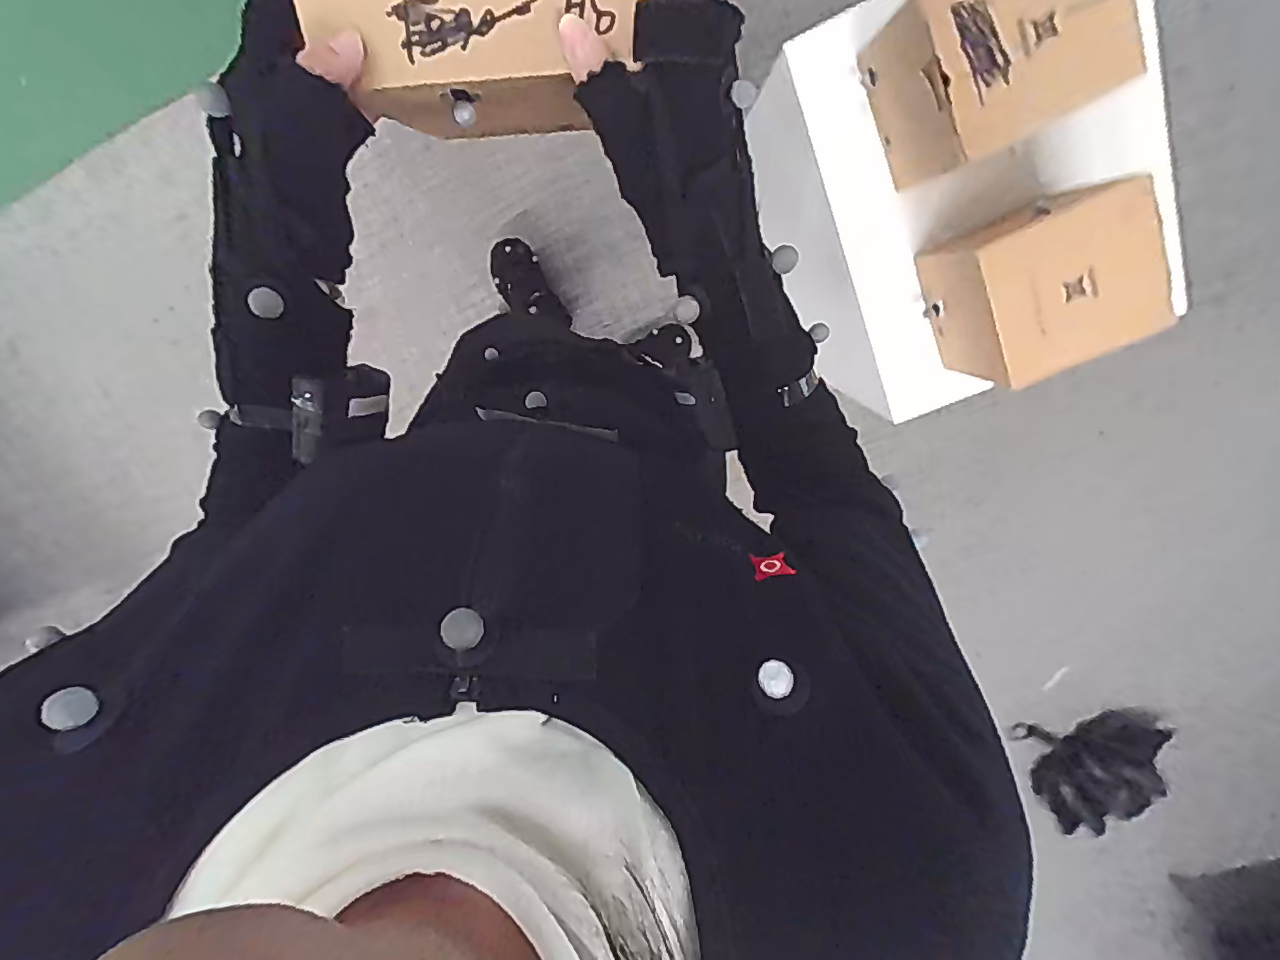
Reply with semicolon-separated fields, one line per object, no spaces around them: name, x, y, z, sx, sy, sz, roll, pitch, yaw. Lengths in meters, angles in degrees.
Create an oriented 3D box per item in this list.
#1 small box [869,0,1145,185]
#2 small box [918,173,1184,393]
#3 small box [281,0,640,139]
small box;0.366;-0.444;0.576;0.179;0.176;0.168;-24;107;10
small box;0.465;-0.225;0.636;0.179;0.176;0.168;-23;106;12
small box;-0.088;-0.311;0.299;0.168;0.176;0.179;-4;114;2
